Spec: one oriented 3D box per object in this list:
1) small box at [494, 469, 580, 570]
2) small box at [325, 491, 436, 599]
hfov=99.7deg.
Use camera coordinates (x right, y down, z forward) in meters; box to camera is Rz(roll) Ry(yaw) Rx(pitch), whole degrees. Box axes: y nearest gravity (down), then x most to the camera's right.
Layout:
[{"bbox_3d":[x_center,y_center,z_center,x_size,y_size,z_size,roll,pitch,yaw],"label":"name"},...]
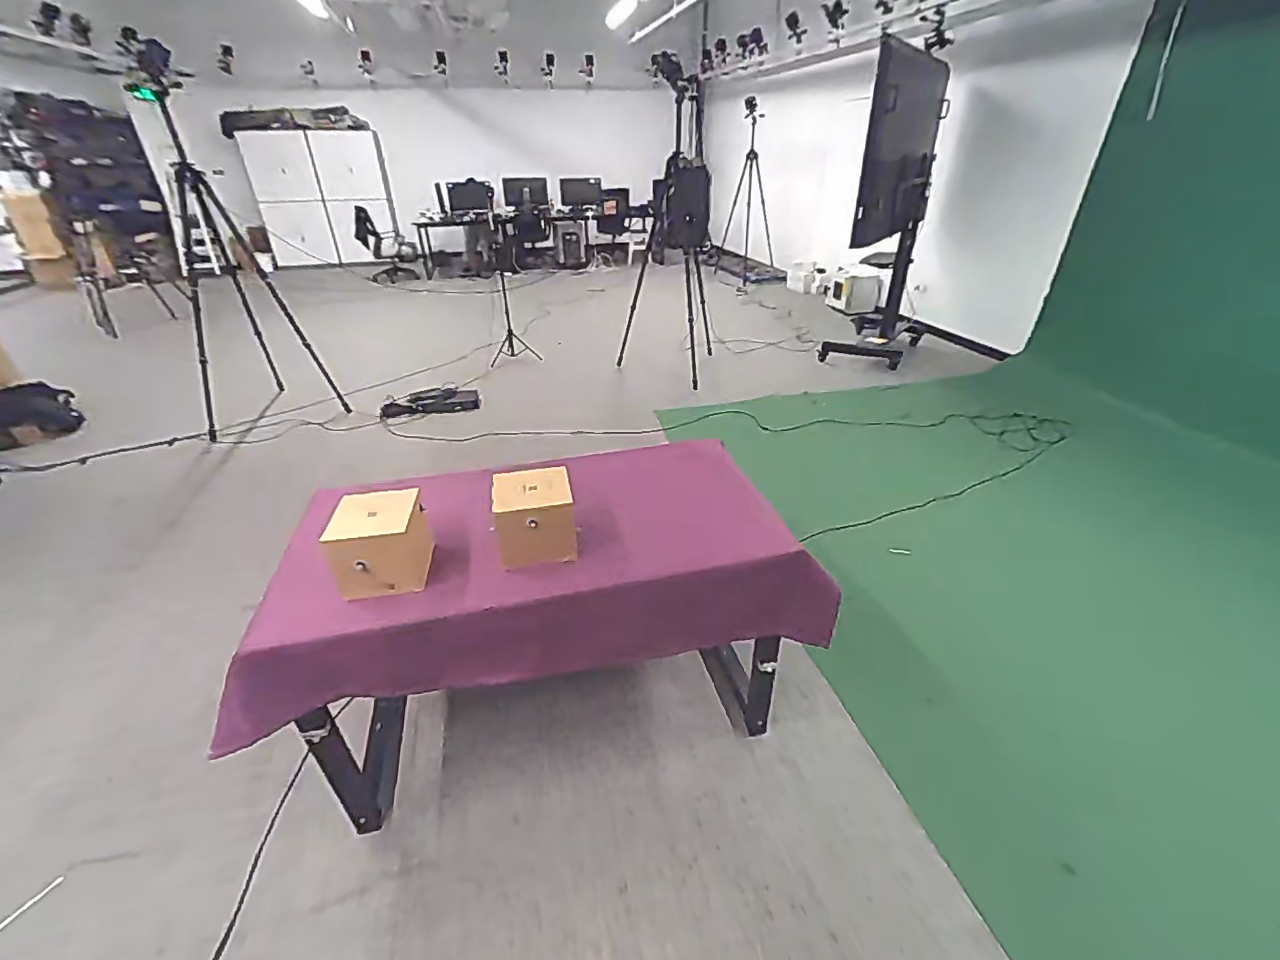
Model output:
[{"bbox_3d":[-0.241,0.095,1.273,0.179,0.176,0.168,-7,32,-9],"label":"small box"},{"bbox_3d":[-0.563,0.148,1.202,0.168,0.176,0.179,-7,30,-8],"label":"small box"}]
